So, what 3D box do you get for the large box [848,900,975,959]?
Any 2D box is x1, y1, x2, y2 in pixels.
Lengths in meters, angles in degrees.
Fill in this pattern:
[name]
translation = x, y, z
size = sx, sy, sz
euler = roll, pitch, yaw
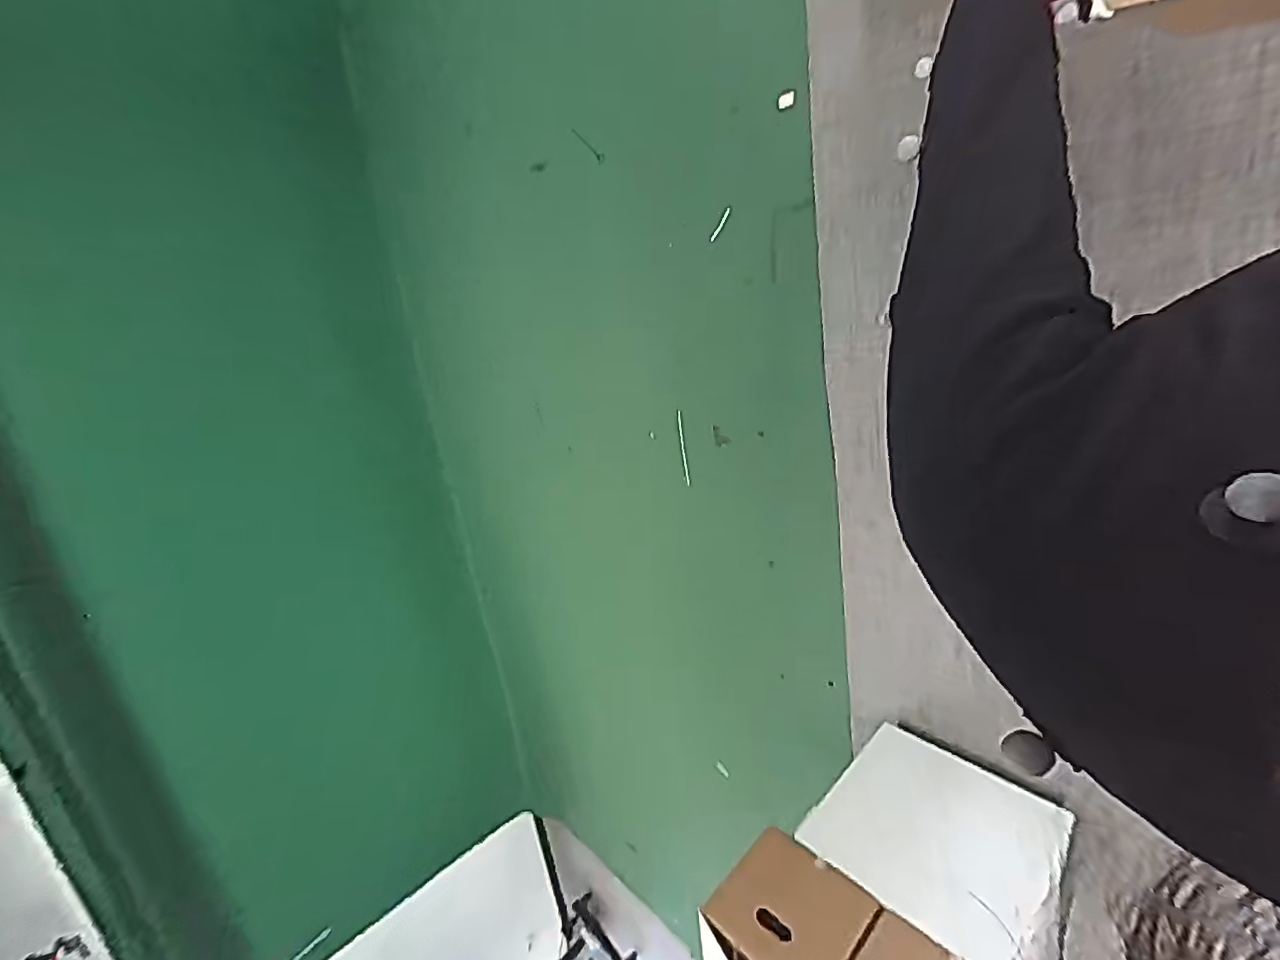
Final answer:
[large box]
translation = 0.595, 1.228, 1.130
size = 0.320, 0.320, 0.408
euler = 13, 118, 47
